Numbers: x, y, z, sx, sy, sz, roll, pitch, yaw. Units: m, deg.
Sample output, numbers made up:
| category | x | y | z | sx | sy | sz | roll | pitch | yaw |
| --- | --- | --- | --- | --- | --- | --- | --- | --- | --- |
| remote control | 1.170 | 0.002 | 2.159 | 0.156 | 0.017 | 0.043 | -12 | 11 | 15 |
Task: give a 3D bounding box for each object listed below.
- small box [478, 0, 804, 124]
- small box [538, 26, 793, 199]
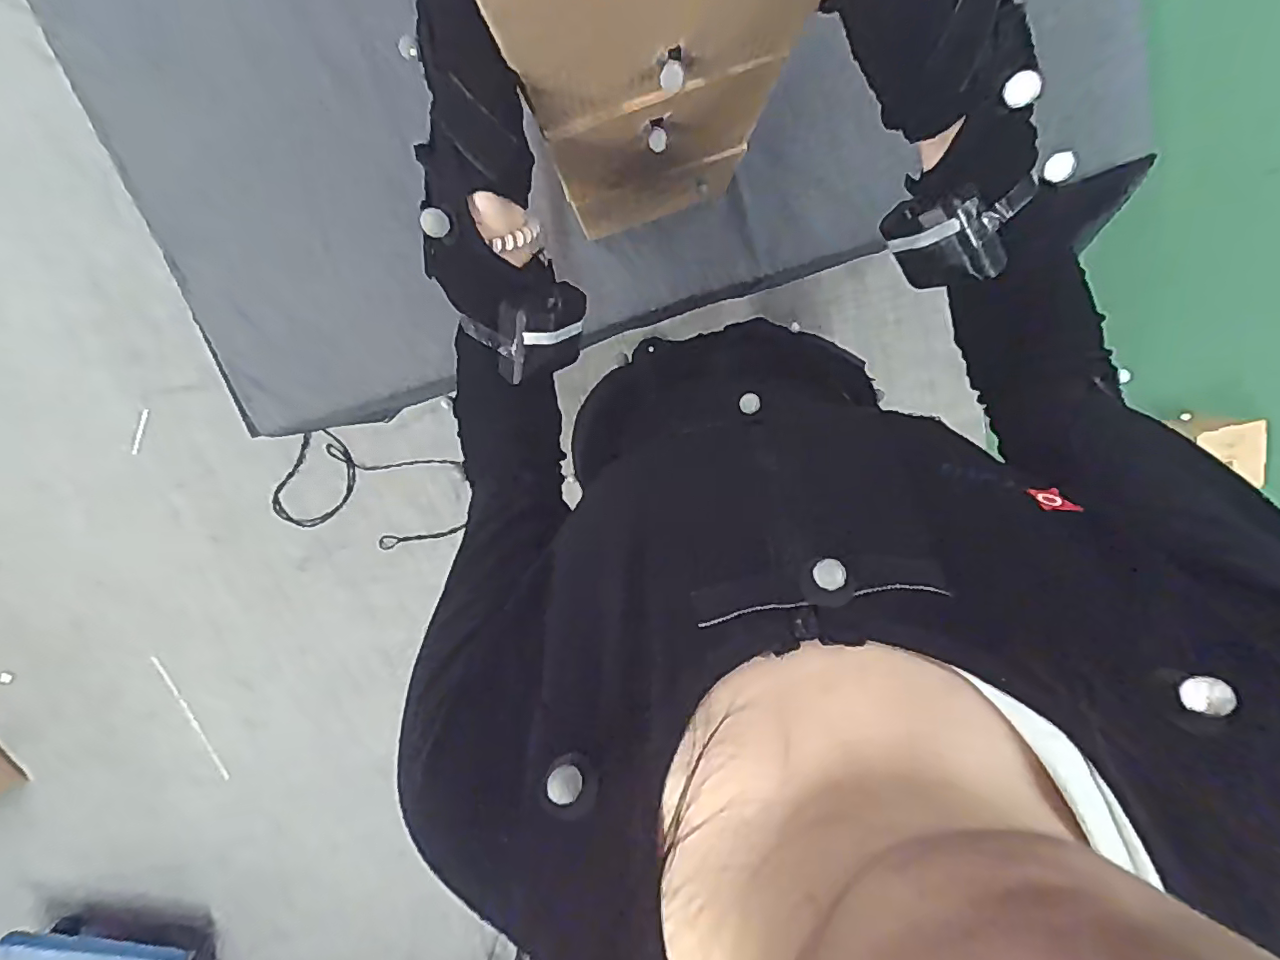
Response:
| category | x | y | z | sx | sy | sz | roll | pitch | yaw |
| --- | --- | --- | --- | --- | --- | --- | --- | --- | --- |
| small box | -0.006 | -0.310 | 0.258 | 0.179 | 0.176 | 0.168 | -15 | 103 | 4 |
| small box | -0.005 | -0.346 | 0.418 | 0.179 | 0.176 | 0.168 | -17 | 103 | 5 |
